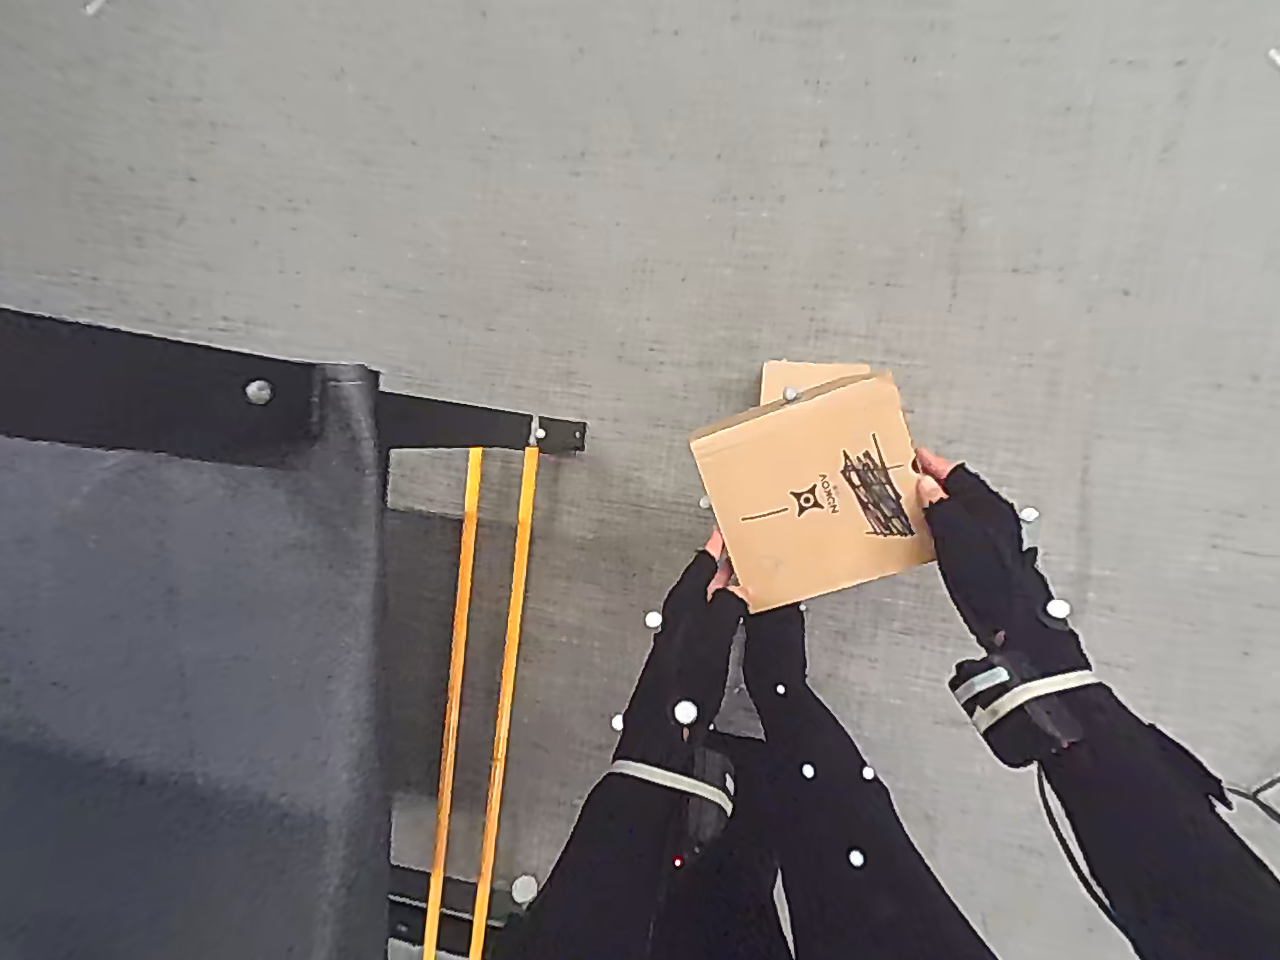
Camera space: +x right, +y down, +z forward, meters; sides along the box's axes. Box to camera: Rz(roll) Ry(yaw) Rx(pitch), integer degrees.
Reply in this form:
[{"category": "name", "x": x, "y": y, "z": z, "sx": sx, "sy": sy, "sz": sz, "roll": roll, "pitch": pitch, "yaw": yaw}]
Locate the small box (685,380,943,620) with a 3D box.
[{"category": "small box", "x": 0.153, "y": 0.008, "z": 0.528, "sx": 0.179, "sy": 0.176, "sz": 0.168, "roll": -19, "pitch": 95, "yaw": 11}]
